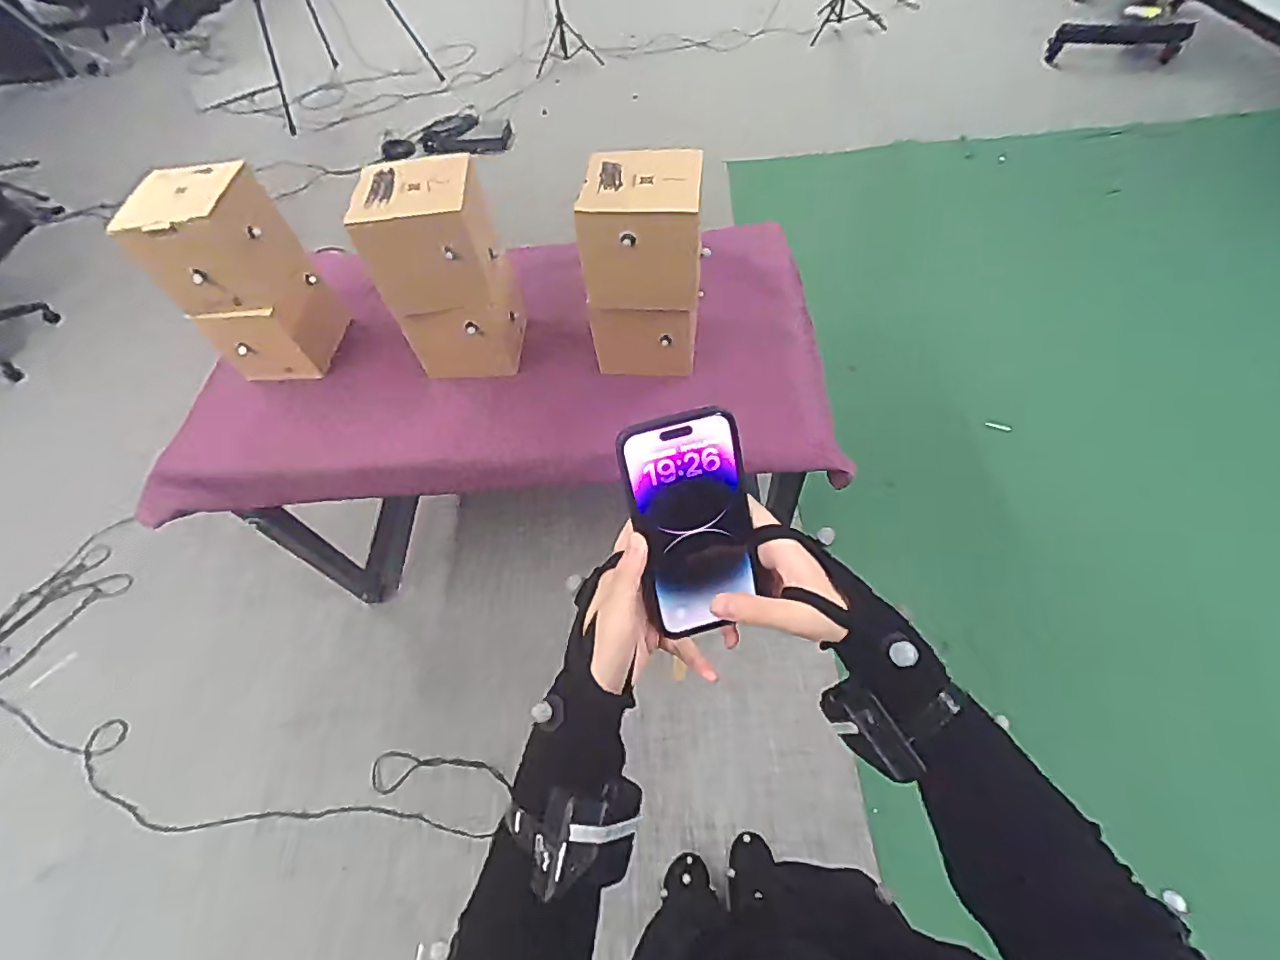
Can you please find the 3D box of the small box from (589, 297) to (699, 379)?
[{"bbox_3d":[0.017,-0.302,0.996,0.179,0.176,0.168,4,57,8],"label":"small box"}]

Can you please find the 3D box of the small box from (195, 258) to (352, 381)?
[{"bbox_3d":[-0.711,-0.311,1.075,0.168,0.176,0.179,-1,57,5],"label":"small box"}]

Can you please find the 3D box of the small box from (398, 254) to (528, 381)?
[{"bbox_3d":[-0.322,-0.305,1.031,0.179,0.176,0.168,-2,56,5],"label":"small box"}]

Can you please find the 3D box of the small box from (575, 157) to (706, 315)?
[{"bbox_3d":[0.011,-0.379,0.851,0.179,0.176,0.168,4,57,7],"label":"small box"}]

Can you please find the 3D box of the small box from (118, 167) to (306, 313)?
[{"bbox_3d":[-0.725,-0.408,0.943,0.168,0.176,0.179,-5,57,2],"label":"small box"}]
